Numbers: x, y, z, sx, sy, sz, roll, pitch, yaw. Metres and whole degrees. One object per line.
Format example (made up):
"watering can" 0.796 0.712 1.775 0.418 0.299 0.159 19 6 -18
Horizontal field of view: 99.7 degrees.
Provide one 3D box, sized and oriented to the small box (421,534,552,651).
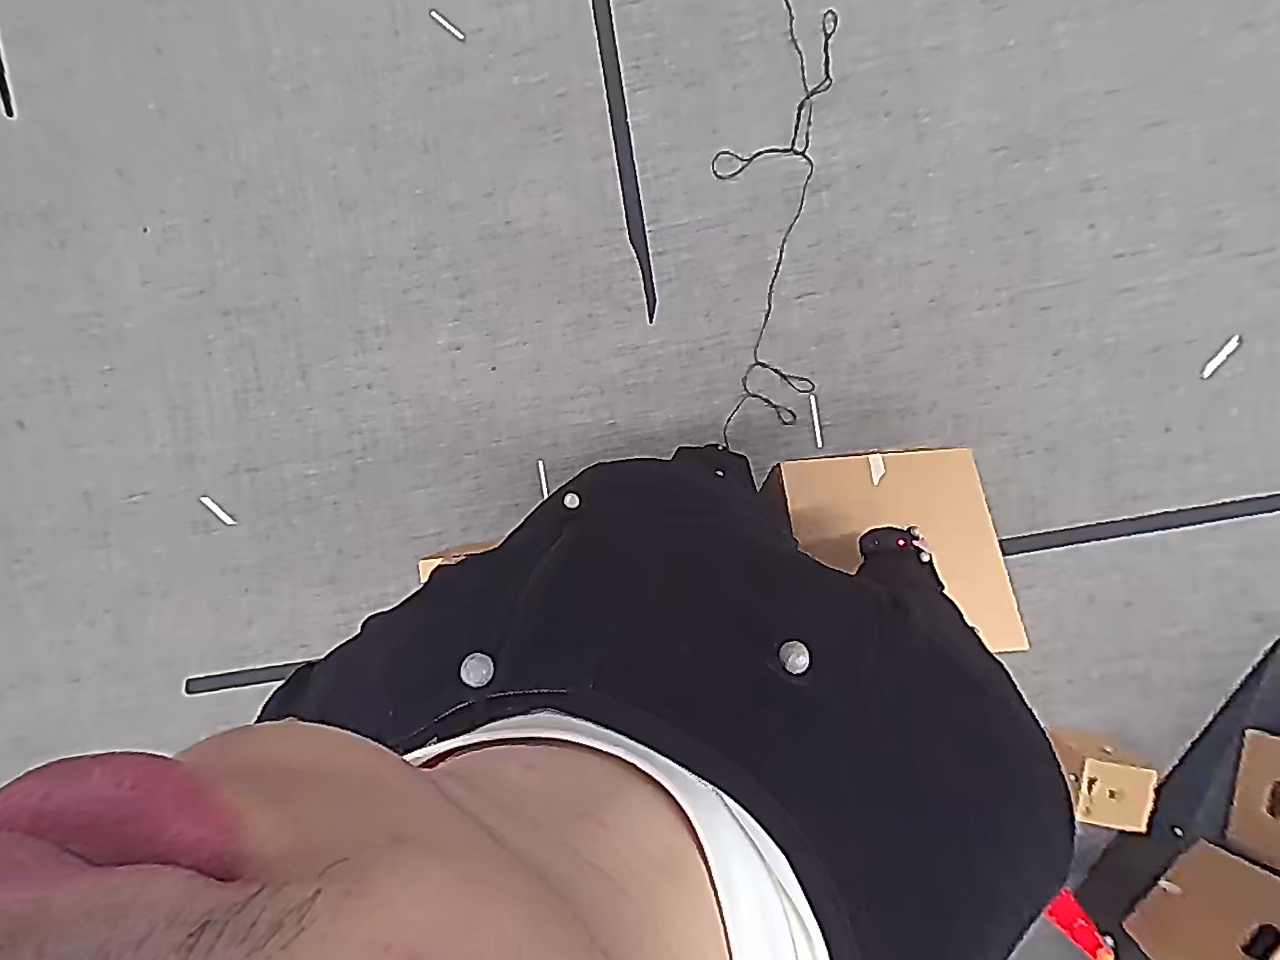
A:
"small box" -0.266 0.203 0.977 0.168 0.179 0.176 -8 92 6
